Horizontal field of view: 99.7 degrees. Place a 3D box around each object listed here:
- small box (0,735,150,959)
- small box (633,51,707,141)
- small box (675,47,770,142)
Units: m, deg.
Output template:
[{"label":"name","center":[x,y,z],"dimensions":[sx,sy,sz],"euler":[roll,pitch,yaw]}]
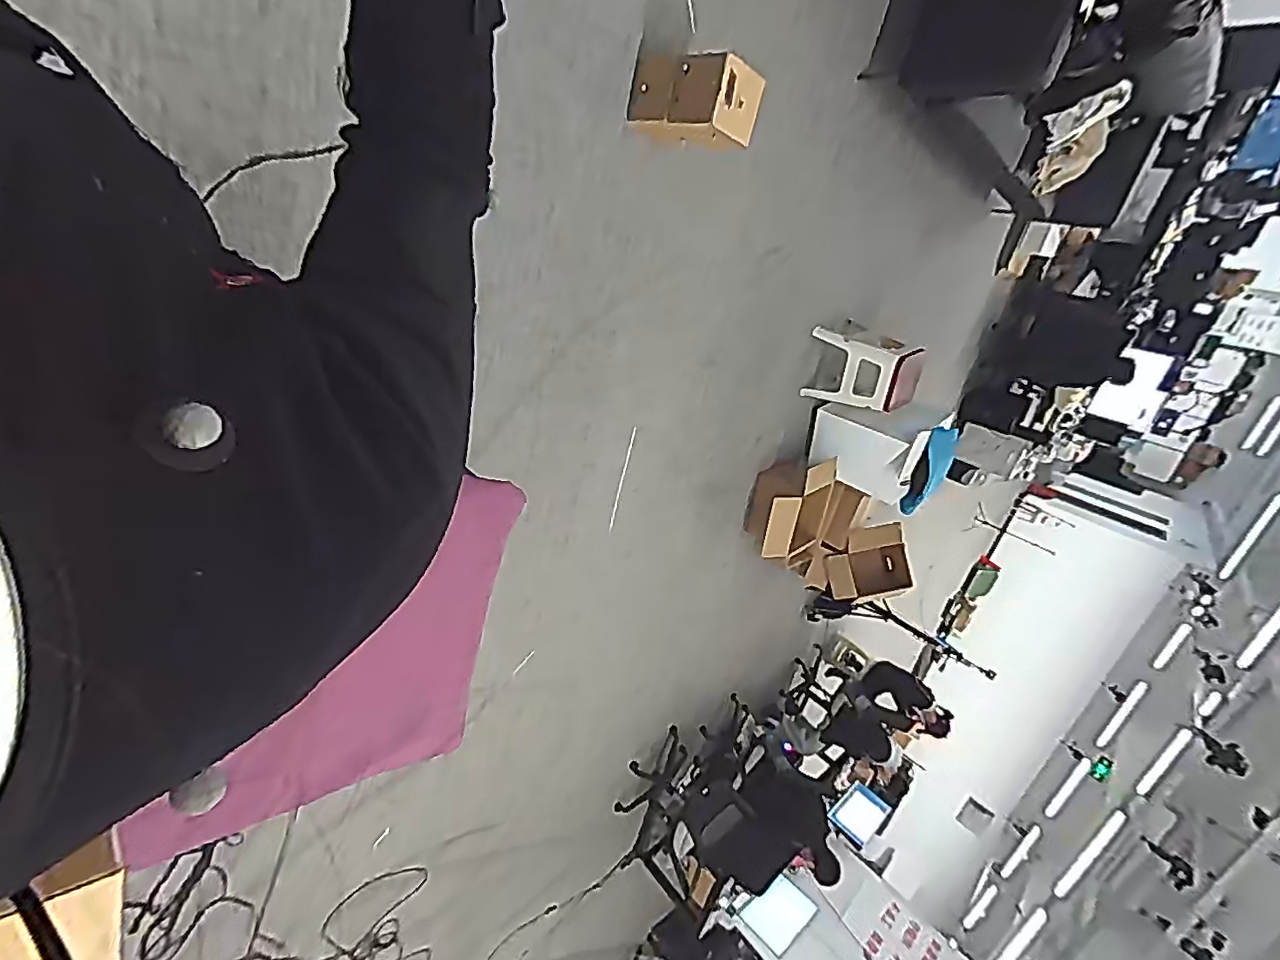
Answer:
[{"label":"small box","center":[-0.552,0.359,0.466],"dimensions":[0.179,0.176,0.168],"euler":[-1,116,-47]},{"label":"small box","center":[0.109,-1.124,1.590],"dimensions":[0.179,0.176,0.168],"euler":[-5,118,-44]},{"label":"small box","center":[0.222,-1.055,1.493],"dimensions":[0.179,0.176,0.168],"euler":[-7,120,-45]}]
